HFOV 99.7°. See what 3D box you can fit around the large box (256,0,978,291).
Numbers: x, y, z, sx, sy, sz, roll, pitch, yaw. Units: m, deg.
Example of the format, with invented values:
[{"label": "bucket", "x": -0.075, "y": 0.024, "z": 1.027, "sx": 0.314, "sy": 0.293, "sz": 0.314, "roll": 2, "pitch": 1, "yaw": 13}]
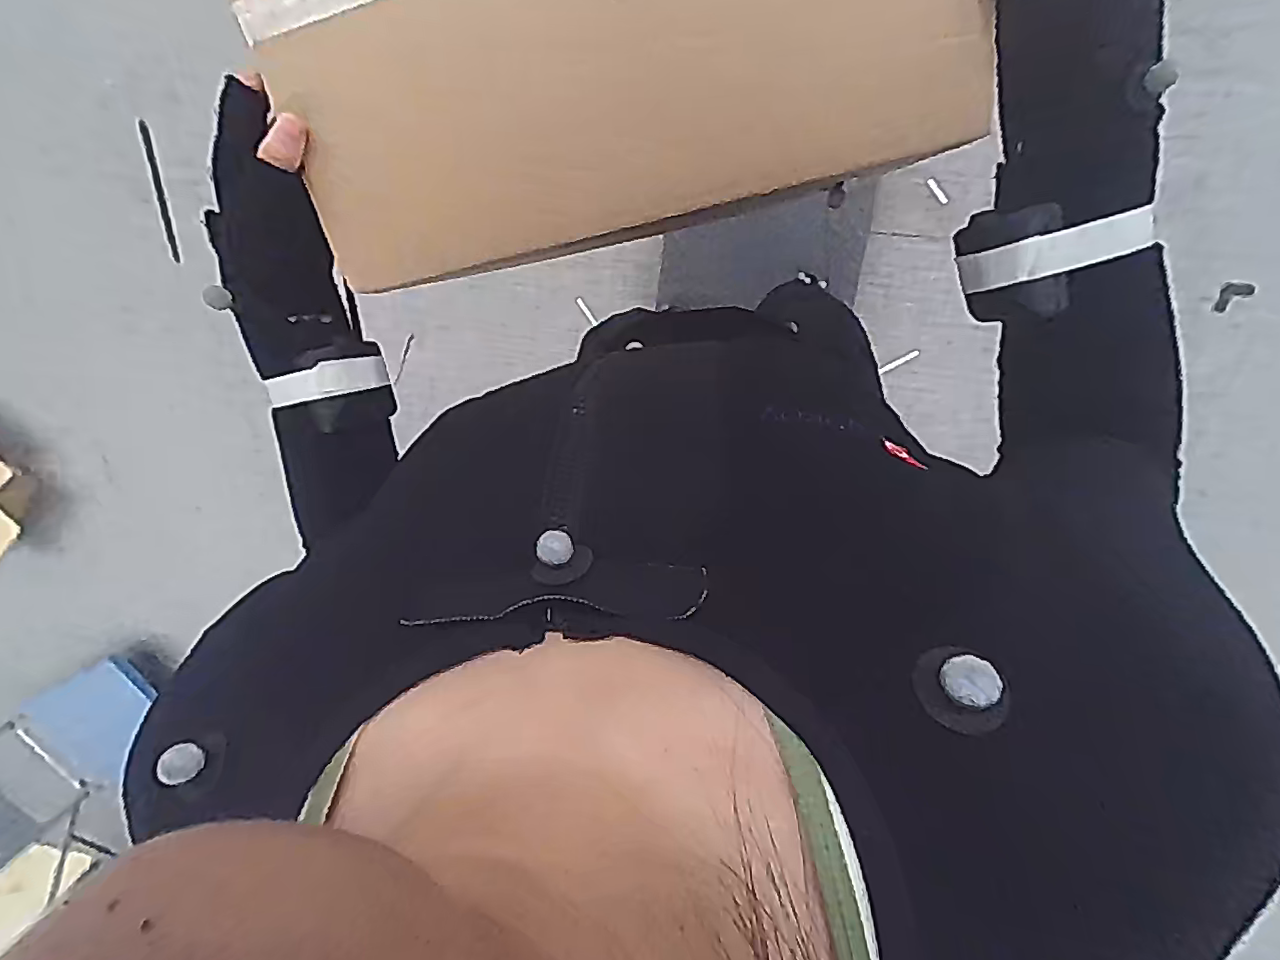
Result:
[{"label": "large box", "x": -0.014, "y": -0.363, "z": 0.422, "sx": 0.408, "sy": 0.320, "sz": 0.320, "roll": -8, "pitch": 113, "yaw": 11}]
